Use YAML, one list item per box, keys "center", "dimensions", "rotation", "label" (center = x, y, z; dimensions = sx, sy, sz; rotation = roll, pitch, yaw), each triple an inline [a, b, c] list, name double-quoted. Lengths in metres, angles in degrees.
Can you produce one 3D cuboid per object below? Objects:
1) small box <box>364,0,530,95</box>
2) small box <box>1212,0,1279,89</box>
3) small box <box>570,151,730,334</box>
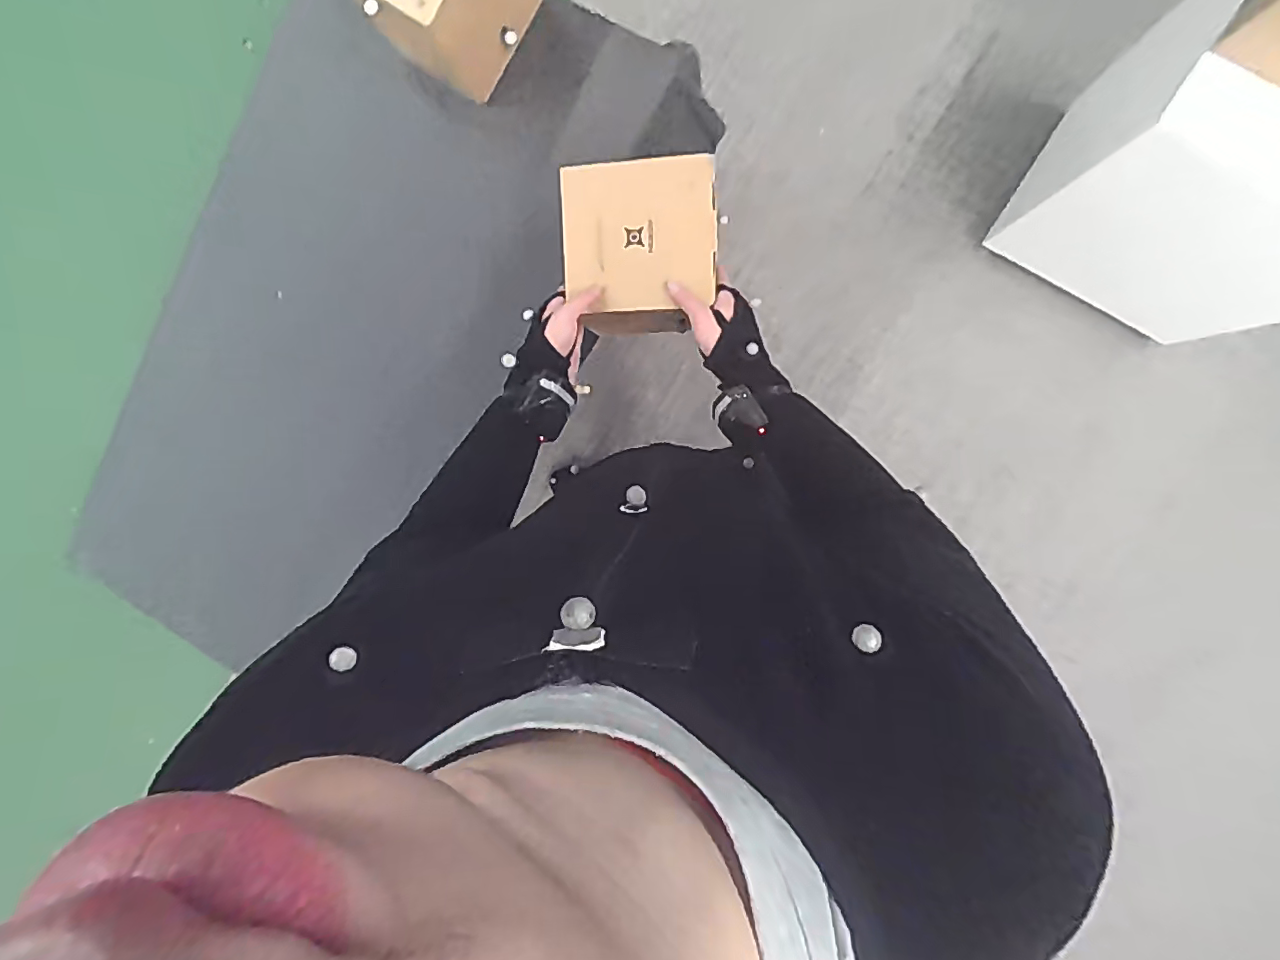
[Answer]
- center: [-0.265, -0.669, 0.708]
  dimensions: [0.168, 0.176, 0.179]
  rotation: [34, 98, 2]
  label: "small box"
- center: [0.941, -0.658, 0.708]
  dimensions: [0.179, 0.176, 0.168]
  rotation: [31, 98, 0]
  label: "small box"
- center: [0.021, -0.282, 0.680]
  dimensions: [0.179, 0.176, 0.168]
  rotation: [-1, 96, 9]
  label: "small box"
